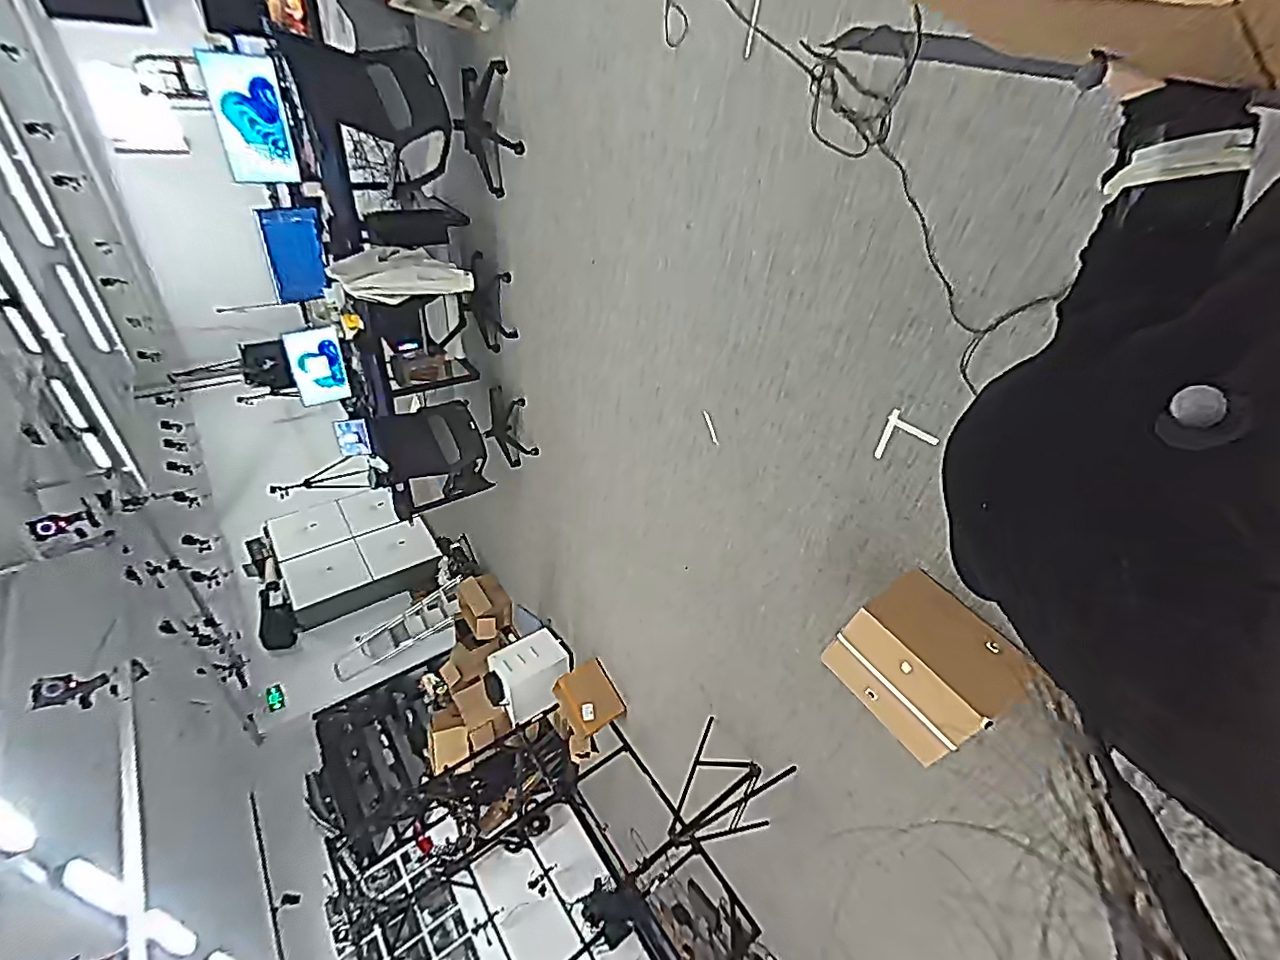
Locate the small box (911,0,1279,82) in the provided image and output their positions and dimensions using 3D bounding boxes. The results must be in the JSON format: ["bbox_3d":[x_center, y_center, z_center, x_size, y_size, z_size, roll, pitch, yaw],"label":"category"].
[{"bbox_3d":[0.275,-0.323,0.270,0.179,0.176,0.168,45,135,34],"label":"small box"}]
